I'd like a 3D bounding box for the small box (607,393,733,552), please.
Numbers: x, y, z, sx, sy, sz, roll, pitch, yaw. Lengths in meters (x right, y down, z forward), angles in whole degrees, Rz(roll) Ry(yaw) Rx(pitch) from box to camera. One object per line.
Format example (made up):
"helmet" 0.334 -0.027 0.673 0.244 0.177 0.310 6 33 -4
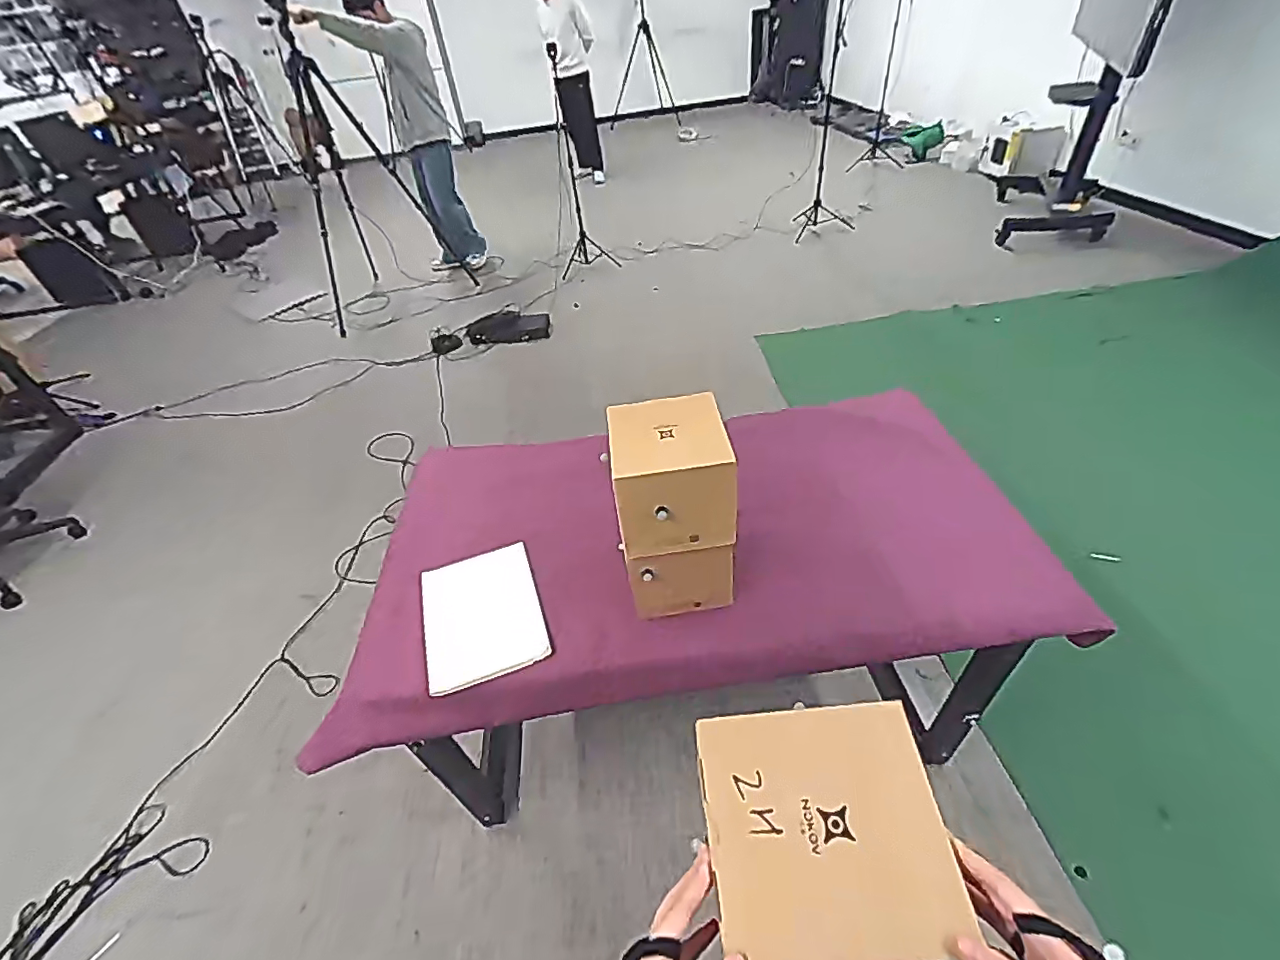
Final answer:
"small box" 0.045 -0.006 0.819 0.168 0.176 0.179 -8 40 0

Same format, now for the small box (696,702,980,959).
"small box" 0.143 0.306 0.470 0.179 0.176 0.168 -6 51 2
